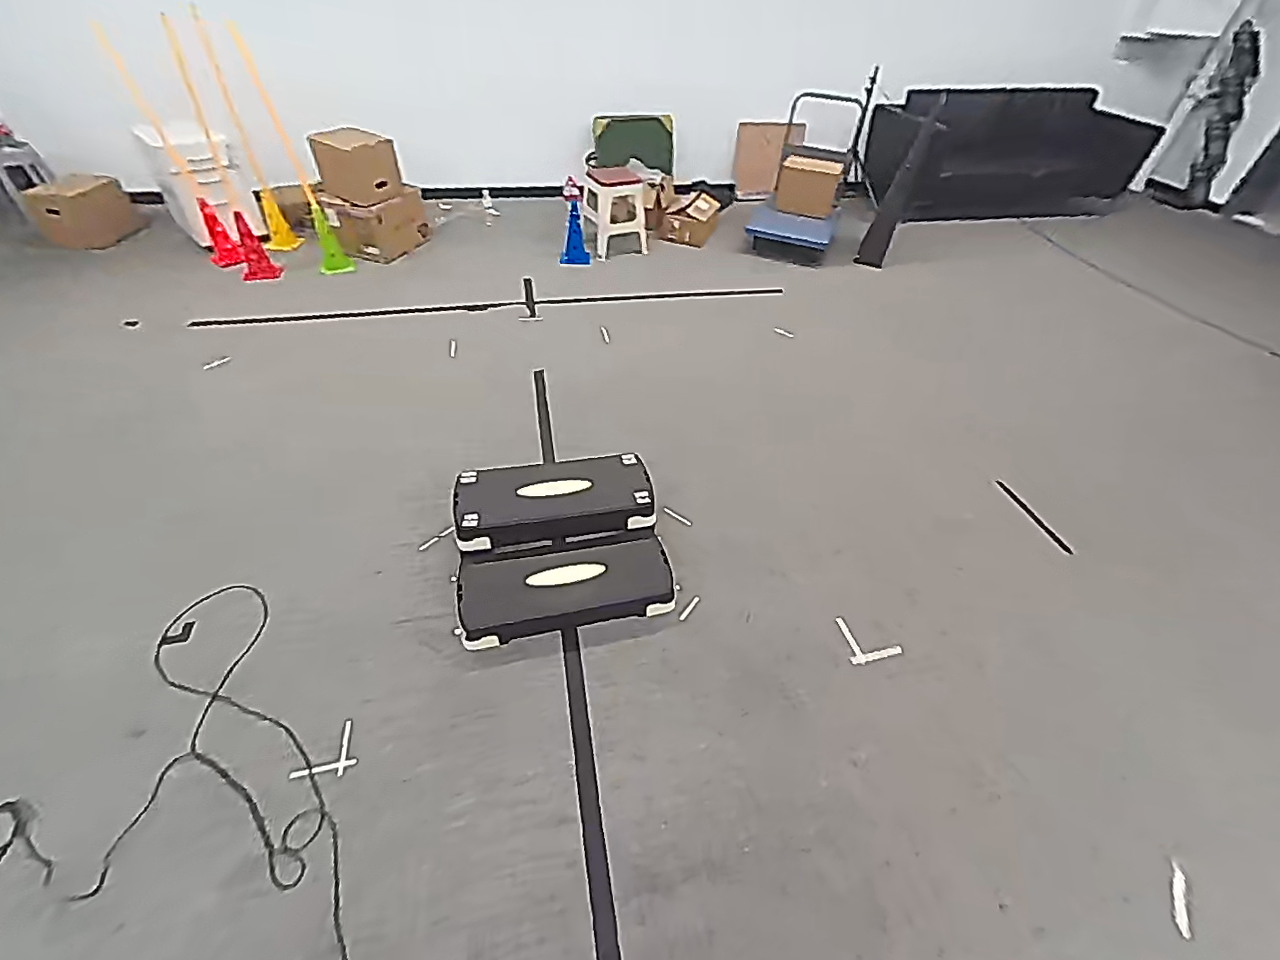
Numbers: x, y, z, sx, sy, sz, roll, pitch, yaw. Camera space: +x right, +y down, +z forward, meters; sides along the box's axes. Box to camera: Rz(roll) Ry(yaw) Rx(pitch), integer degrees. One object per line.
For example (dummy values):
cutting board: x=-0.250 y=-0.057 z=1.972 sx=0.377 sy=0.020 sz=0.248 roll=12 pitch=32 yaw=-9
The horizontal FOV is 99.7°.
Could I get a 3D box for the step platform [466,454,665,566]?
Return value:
step platform: x=-0.257 y=0.093 z=1.911 sx=0.684 sy=0.204 sz=0.286 roll=-7 pitch=45 yaw=-12
